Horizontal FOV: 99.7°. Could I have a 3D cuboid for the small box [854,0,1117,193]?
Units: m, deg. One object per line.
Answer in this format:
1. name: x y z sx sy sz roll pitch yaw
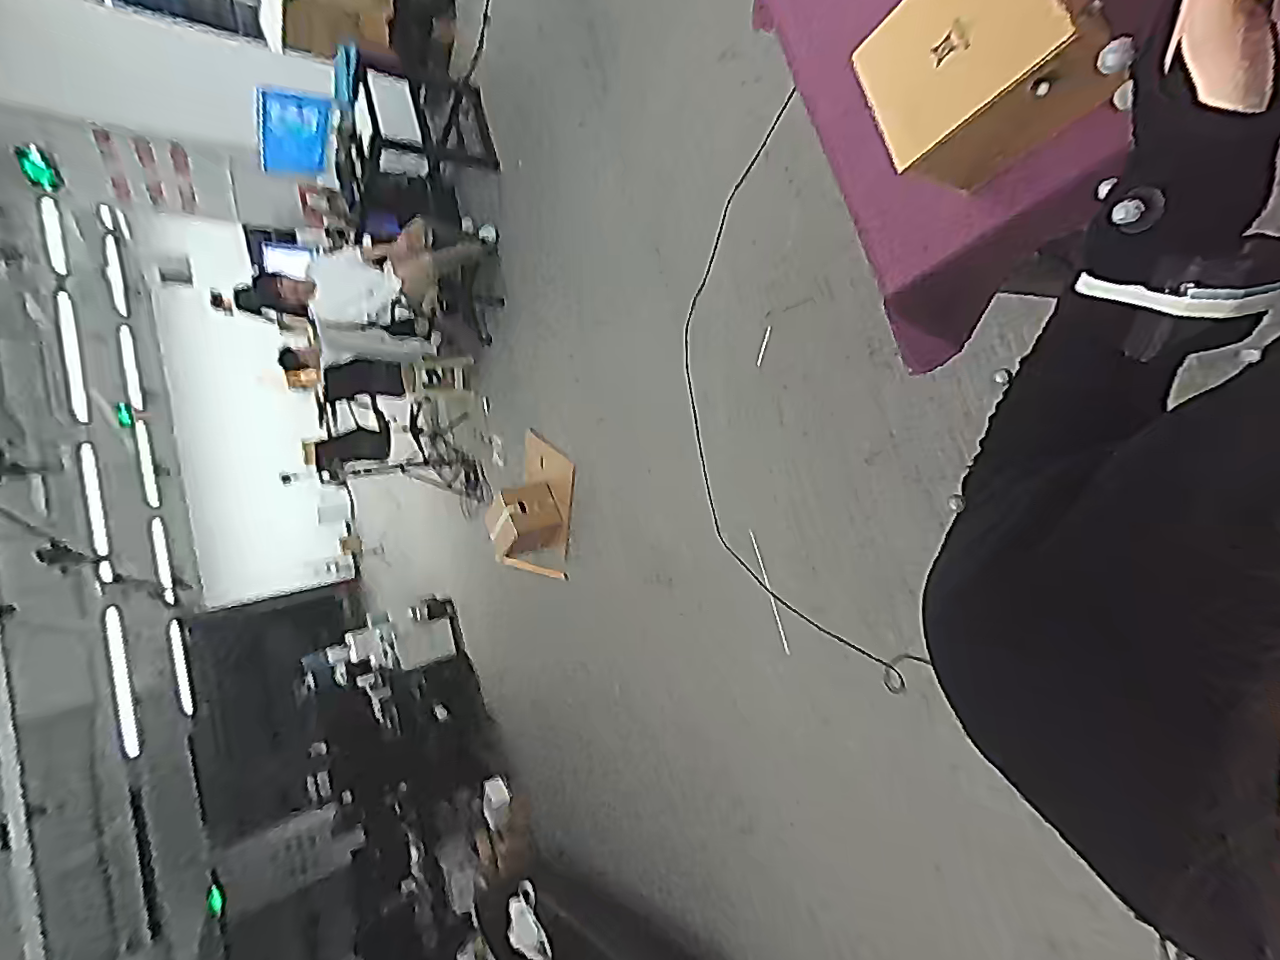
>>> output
1. small box: 0.386 -0.462 0.614 0.179 0.176 0.168 -28 75 52
